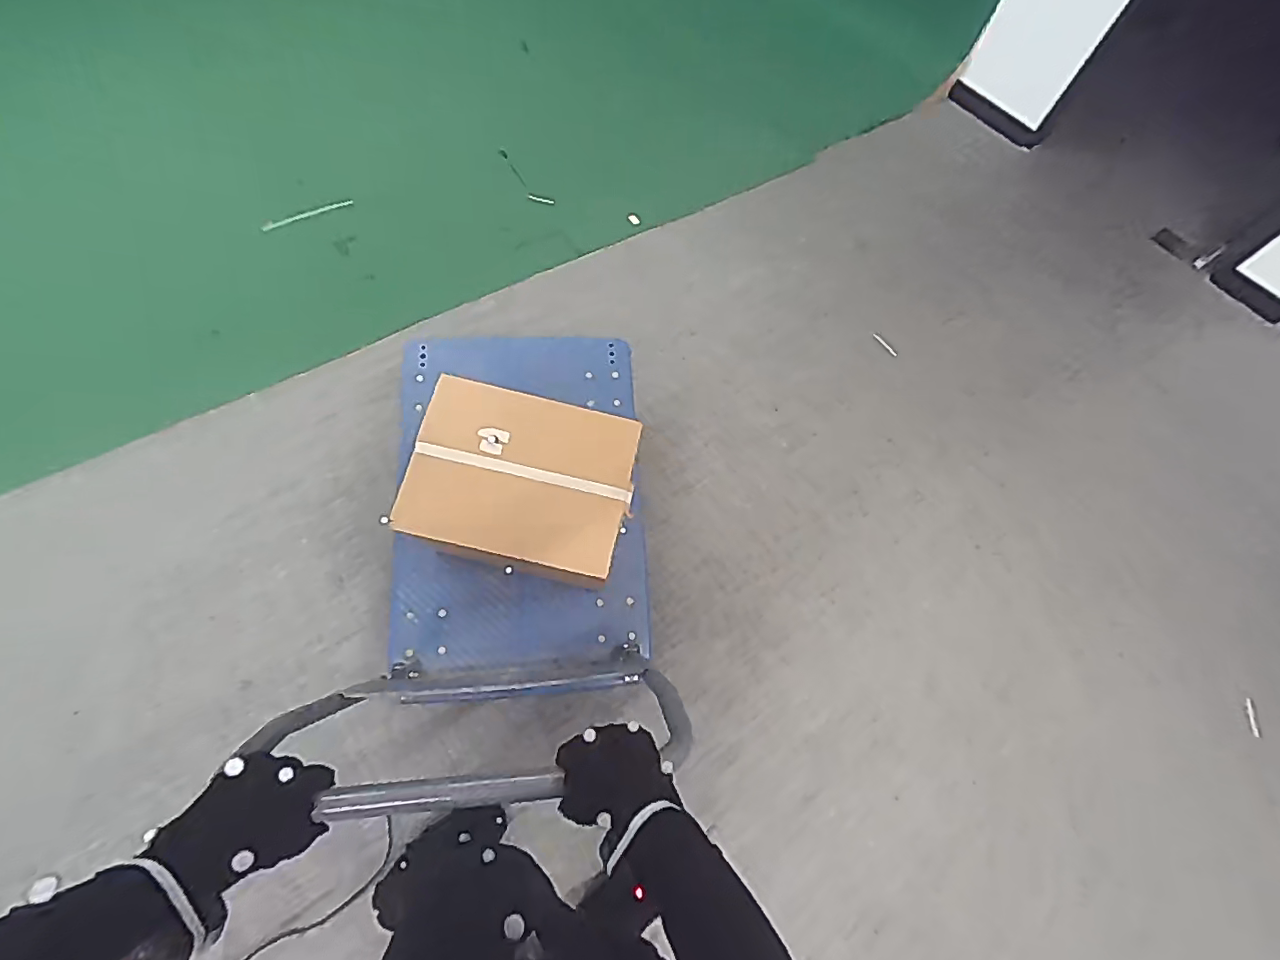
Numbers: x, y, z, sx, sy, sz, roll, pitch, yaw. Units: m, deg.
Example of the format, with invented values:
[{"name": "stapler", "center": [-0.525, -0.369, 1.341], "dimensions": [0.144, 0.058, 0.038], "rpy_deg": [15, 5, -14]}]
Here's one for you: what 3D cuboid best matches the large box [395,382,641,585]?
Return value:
[{"name": "large box", "center": [-0.226, 0.030, 1.150], "dimensions": [0.408, 0.320, 0.320], "rpy_deg": [12, 74, -1]}]
